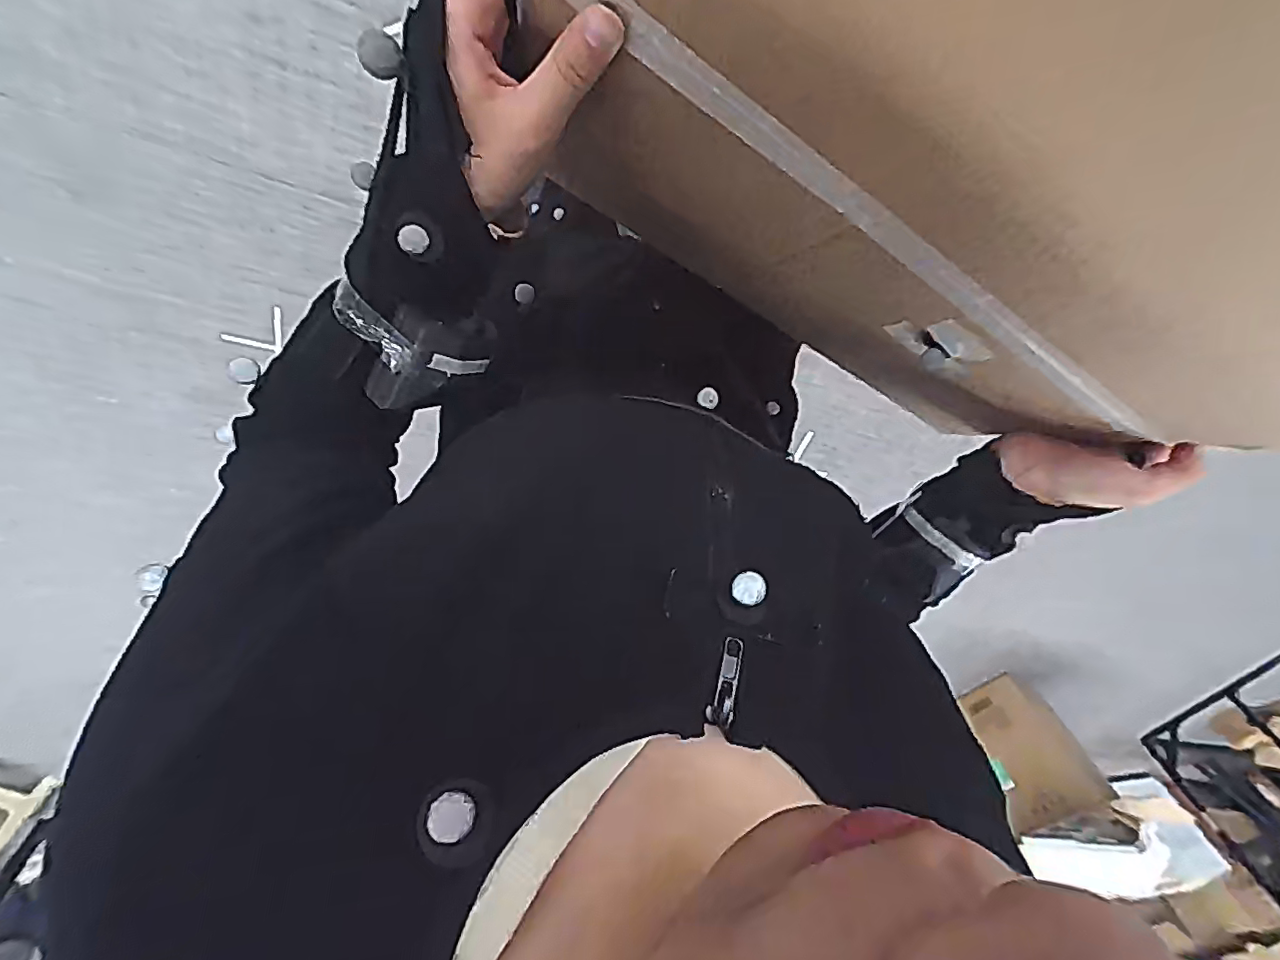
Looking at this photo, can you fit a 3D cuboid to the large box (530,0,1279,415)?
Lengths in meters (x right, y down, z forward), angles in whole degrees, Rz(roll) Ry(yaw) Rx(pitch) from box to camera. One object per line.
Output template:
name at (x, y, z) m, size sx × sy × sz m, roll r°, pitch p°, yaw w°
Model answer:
large box at (0.211, -0.254, 0.228) m, size 0.408 × 0.320 × 0.320 m, roll 24°, pitch 89°, yaw -20°
